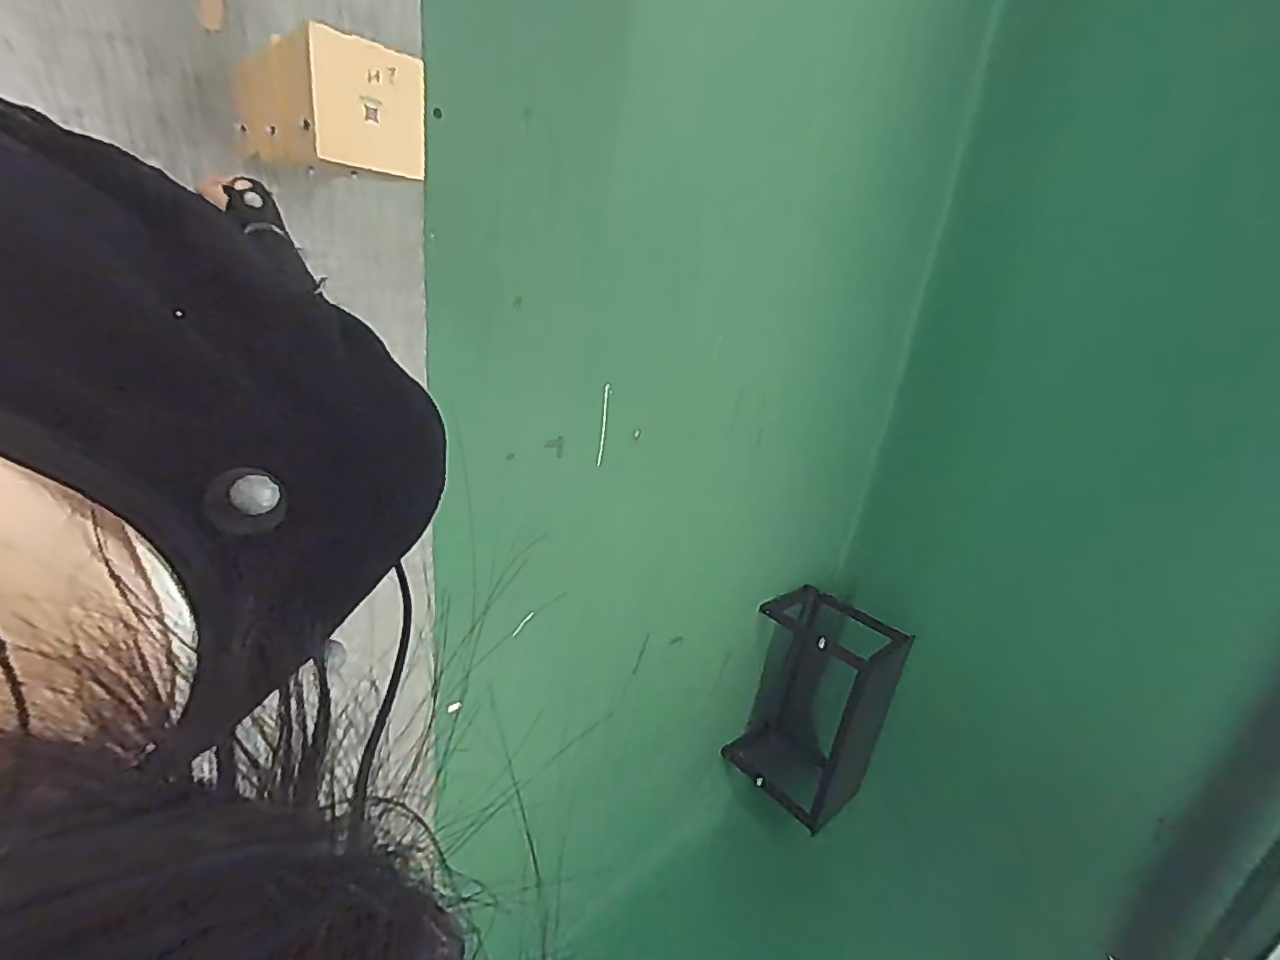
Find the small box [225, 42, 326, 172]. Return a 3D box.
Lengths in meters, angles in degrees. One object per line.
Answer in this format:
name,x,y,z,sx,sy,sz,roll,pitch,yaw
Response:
small box,-0.713,-0.730,1.085,0.179,0.176,0.168,-10,117,-43

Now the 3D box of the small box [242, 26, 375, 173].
small box,-0.601,-0.674,0.983,0.168,0.176,0.179,-12,120,-42
